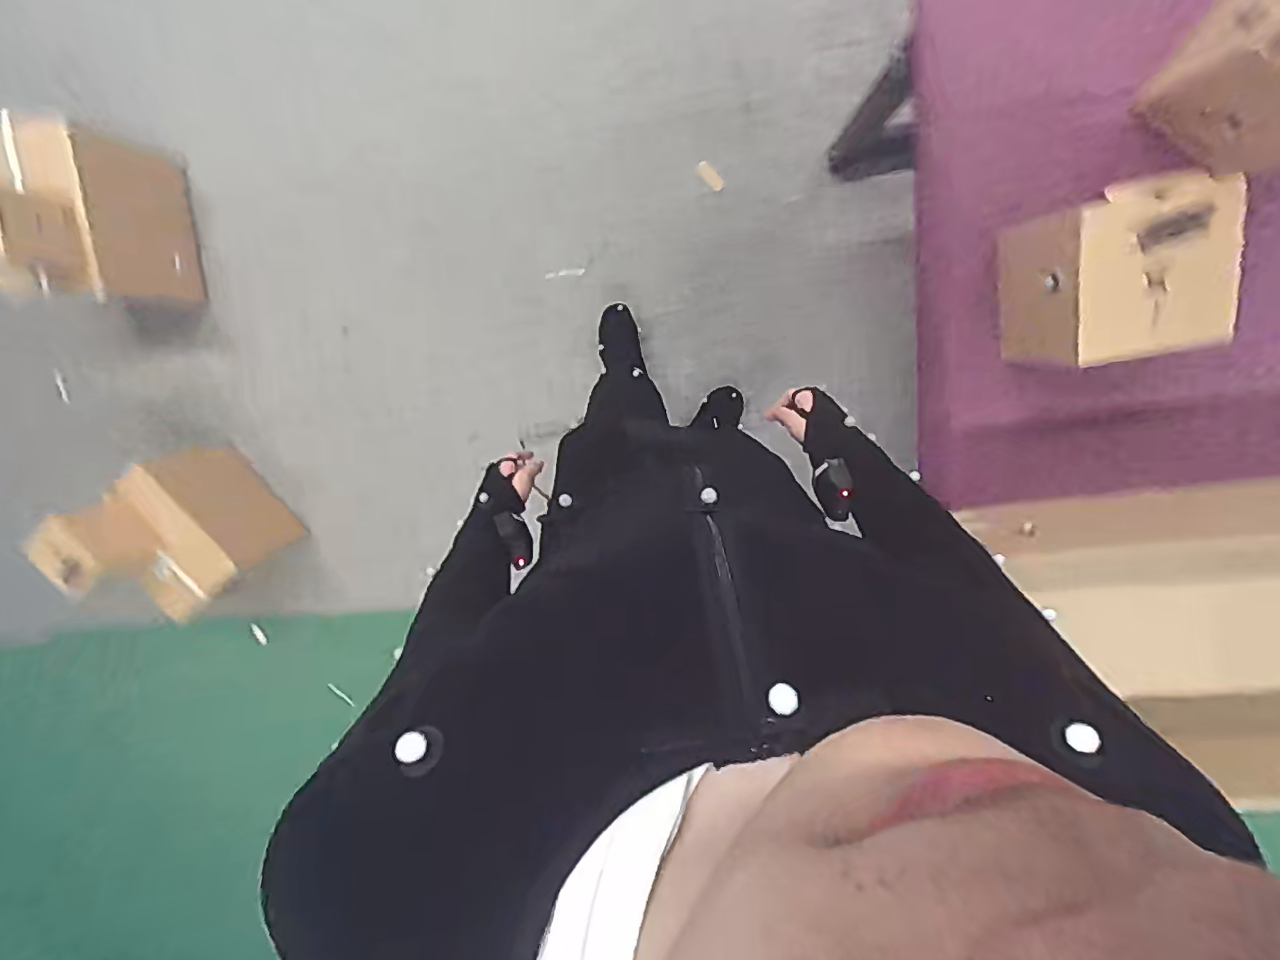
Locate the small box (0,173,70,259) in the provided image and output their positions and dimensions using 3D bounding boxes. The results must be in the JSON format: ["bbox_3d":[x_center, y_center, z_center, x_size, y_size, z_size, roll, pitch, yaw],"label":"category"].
[{"bbox_3d":[-1.479,-0.608,1.242,0.179,0.176,0.168,1,105,4],"label":"small box"}]

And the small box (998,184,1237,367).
[{"bbox_3d":[0.586,-0.247,0.690,0.168,0.176,0.179,-9,104,7],"label":"small box"}]

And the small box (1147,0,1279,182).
[{"bbox_3d":[0.744,-0.477,0.613,0.168,0.176,0.179,34,106,-4],"label":"small box"}]

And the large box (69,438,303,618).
[{"bbox_3d":[-1.384,0.134,1.686,0.320,0.320,0.408,-37,99,14],"label":"large box"}]
